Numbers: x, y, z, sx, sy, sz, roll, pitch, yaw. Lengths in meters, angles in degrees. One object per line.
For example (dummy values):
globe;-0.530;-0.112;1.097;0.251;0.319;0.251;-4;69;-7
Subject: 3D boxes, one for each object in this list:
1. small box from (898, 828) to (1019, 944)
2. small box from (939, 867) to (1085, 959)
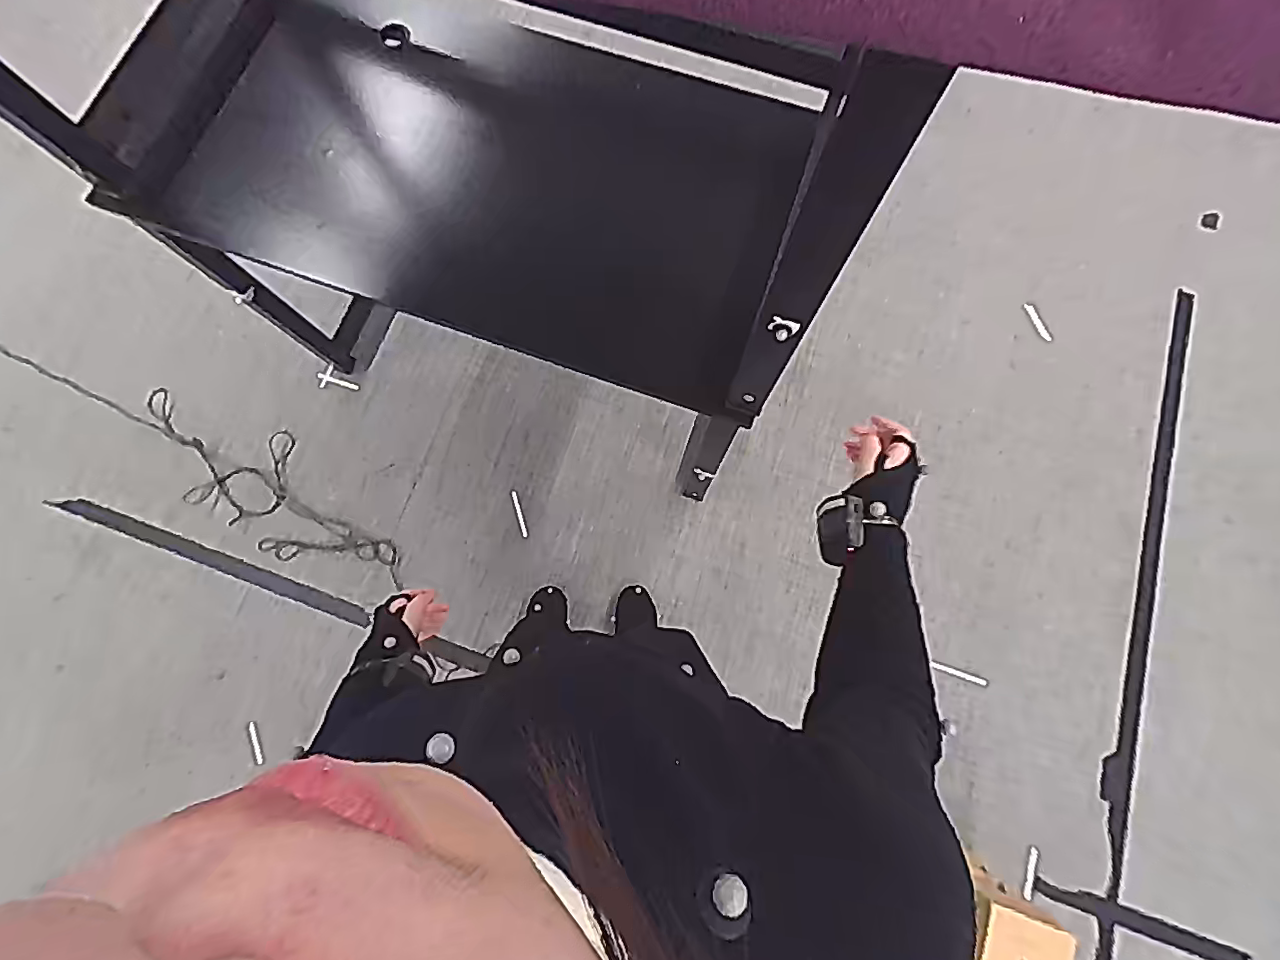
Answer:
small box;0.729;0.958;1.250;0.168;0.176;0.179;24;80;6
small box;0.735;0.936;1.087;0.168;0.176;0.179;20;78;5
